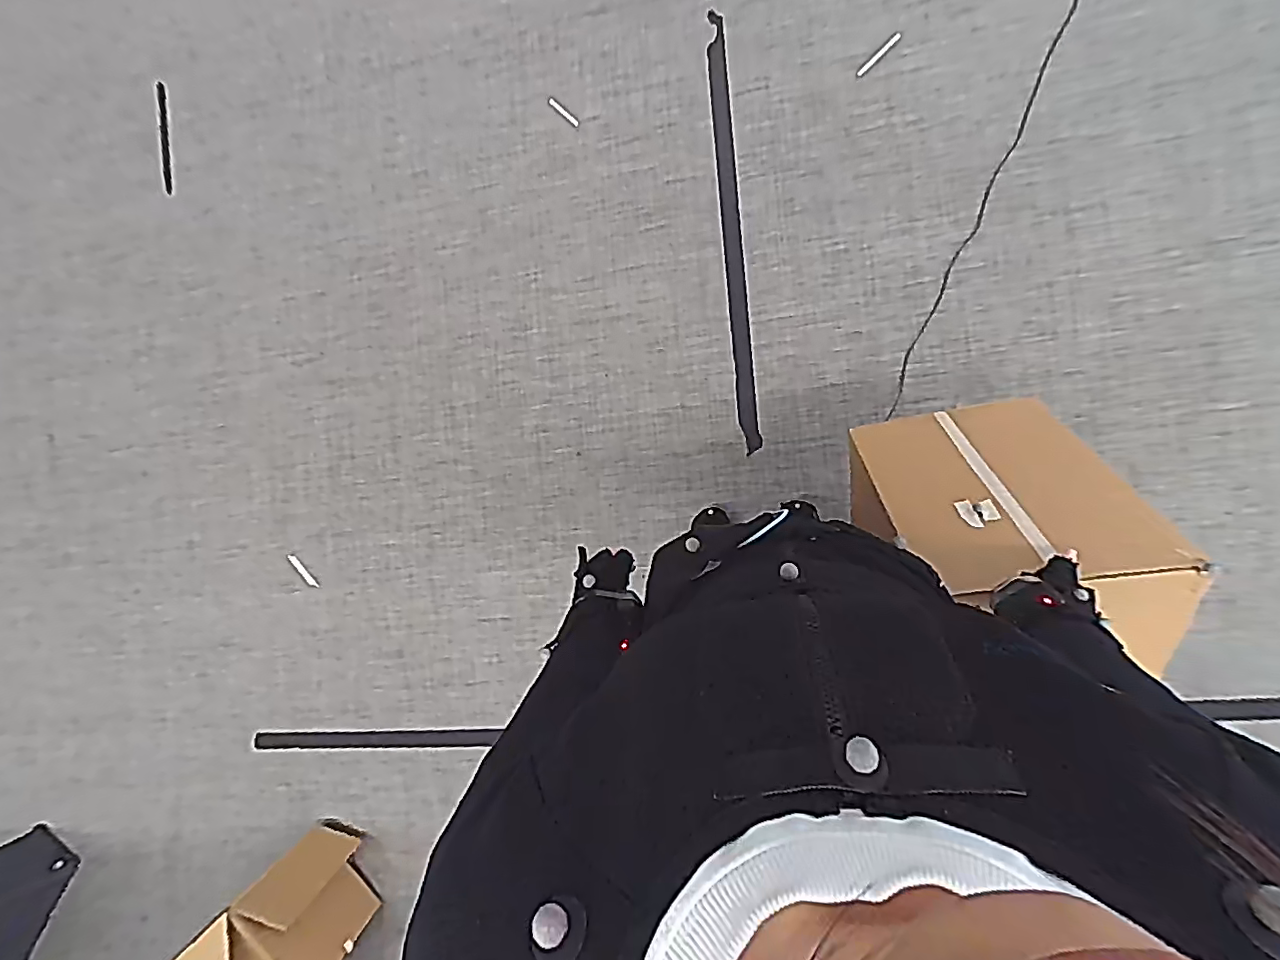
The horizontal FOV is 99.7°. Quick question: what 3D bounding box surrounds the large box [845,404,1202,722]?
[{"bbox_3d":[0.550,0.127,0.896,0.320,0.408,0.320,-10,127,12],"label":"large box"}]
